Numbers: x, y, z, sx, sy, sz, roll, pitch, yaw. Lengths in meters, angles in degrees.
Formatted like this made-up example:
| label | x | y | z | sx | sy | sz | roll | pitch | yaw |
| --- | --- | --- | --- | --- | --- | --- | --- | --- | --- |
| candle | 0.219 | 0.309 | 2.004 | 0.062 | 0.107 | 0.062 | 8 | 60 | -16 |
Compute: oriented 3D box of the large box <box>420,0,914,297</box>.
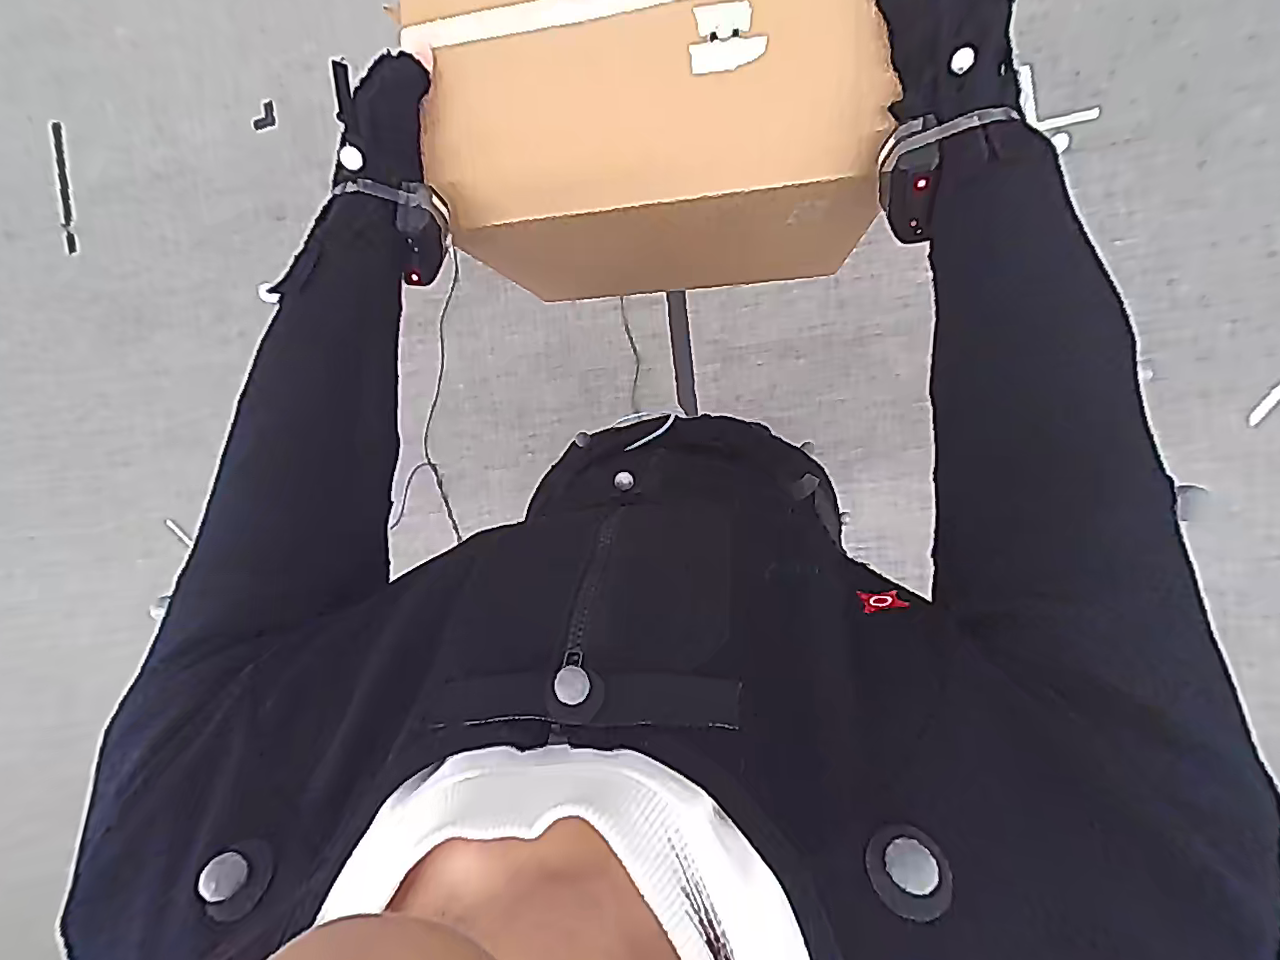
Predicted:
| label | x | y | z | sx | sy | sz | roll | pitch | yaw |
| --- | --- | --- | --- | --- | --- | --- | --- | --- | --- |
| large box | 0.028 | -0.408 | 0.584 | 0.408 | 0.320 | 0.320 | -3 | 97 | 9 |
